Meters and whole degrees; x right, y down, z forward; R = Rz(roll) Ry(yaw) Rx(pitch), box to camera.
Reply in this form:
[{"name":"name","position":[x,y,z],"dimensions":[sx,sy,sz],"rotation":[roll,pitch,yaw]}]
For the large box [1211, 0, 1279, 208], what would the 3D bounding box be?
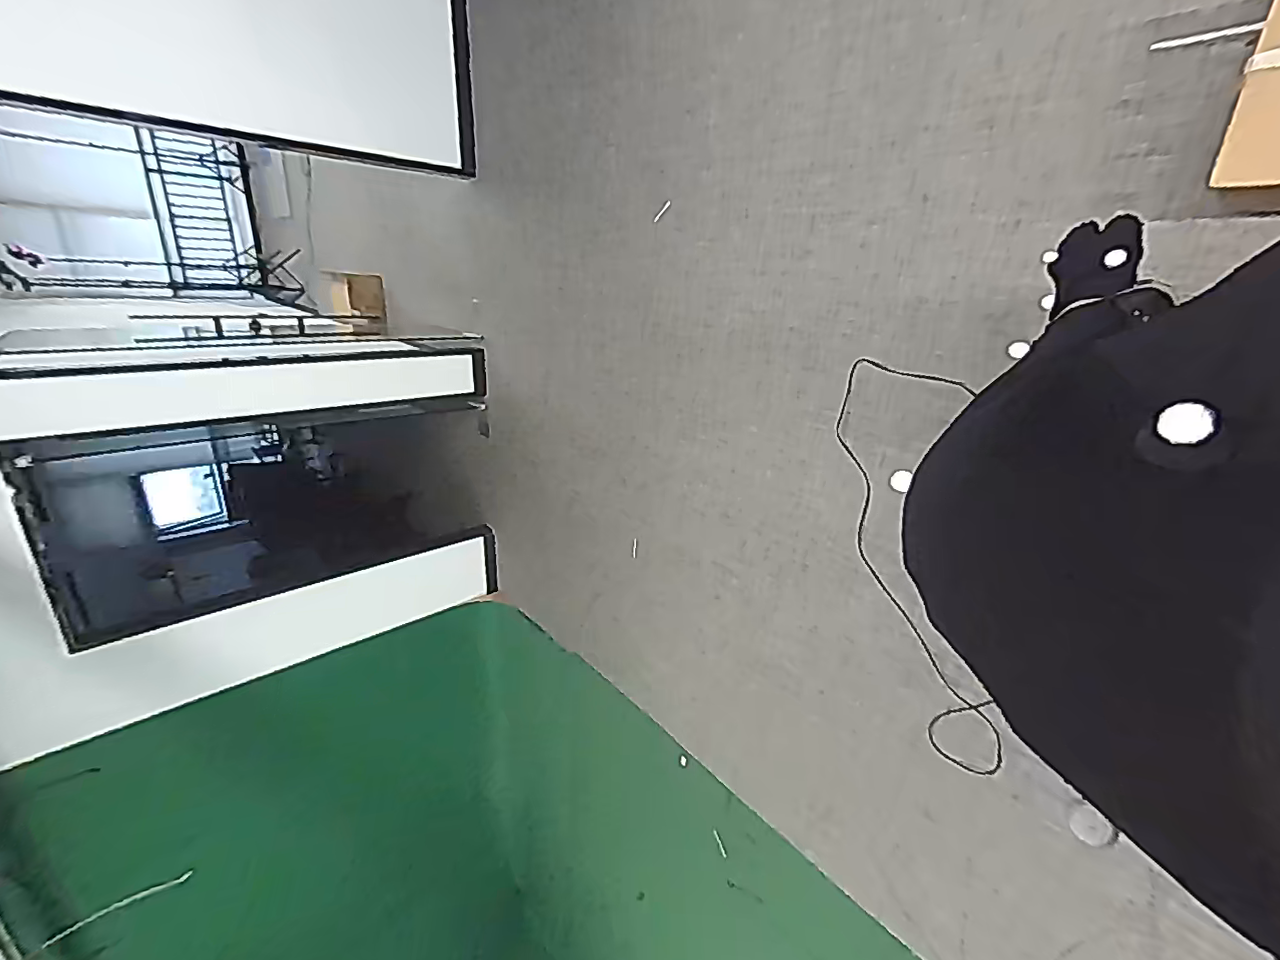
[{"name":"large box","position":[1.088,-0.560,0.708],"dimensions":[0.408,0.320,0.320],"rotation":[23,119,43]}]
